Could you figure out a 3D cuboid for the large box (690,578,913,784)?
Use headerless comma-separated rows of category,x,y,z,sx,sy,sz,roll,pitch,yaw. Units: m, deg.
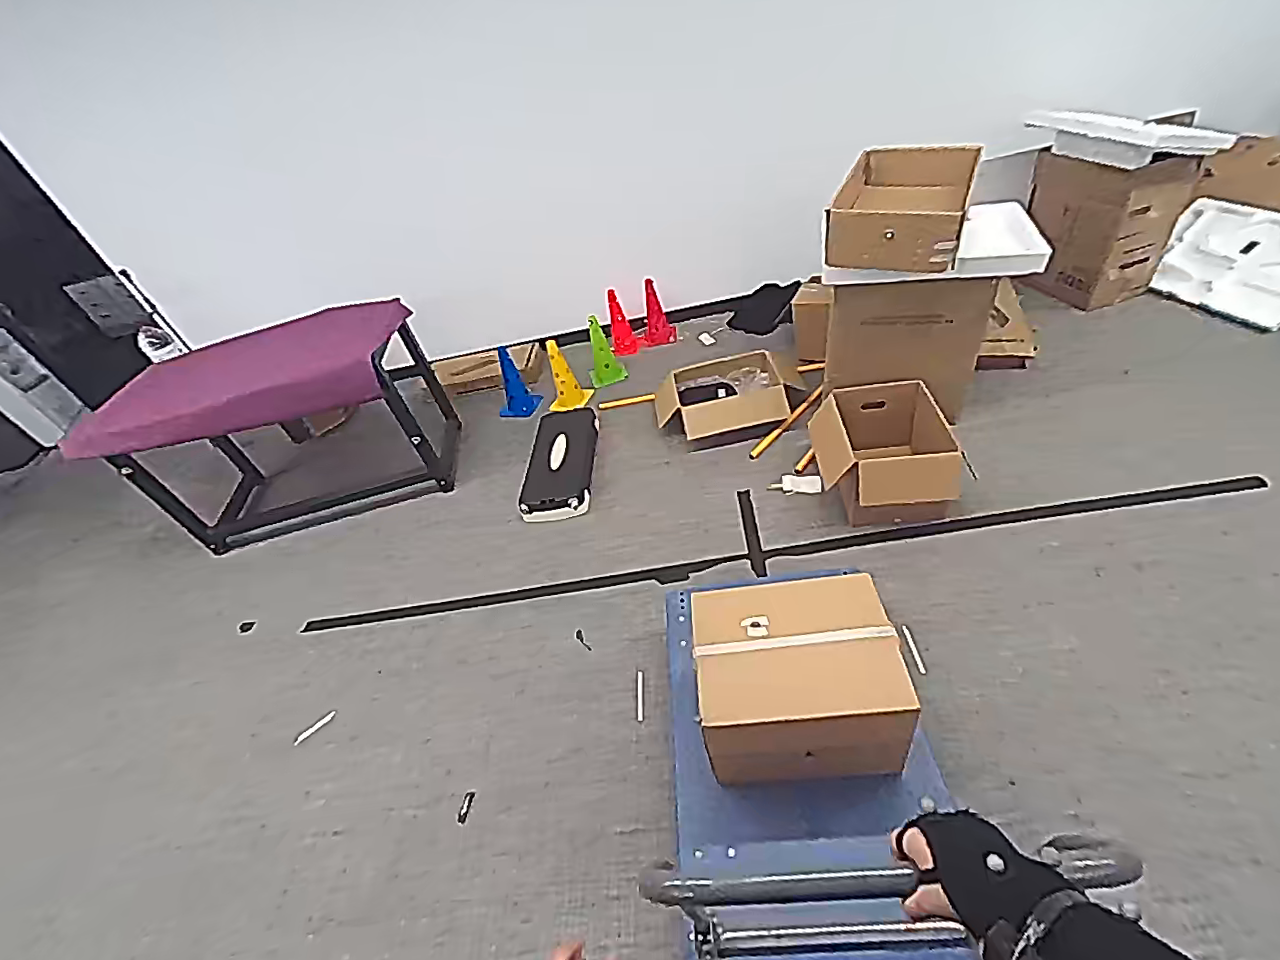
large box,0.347,0.464,1.233,0.408,0.320,0.320,-9,40,9
